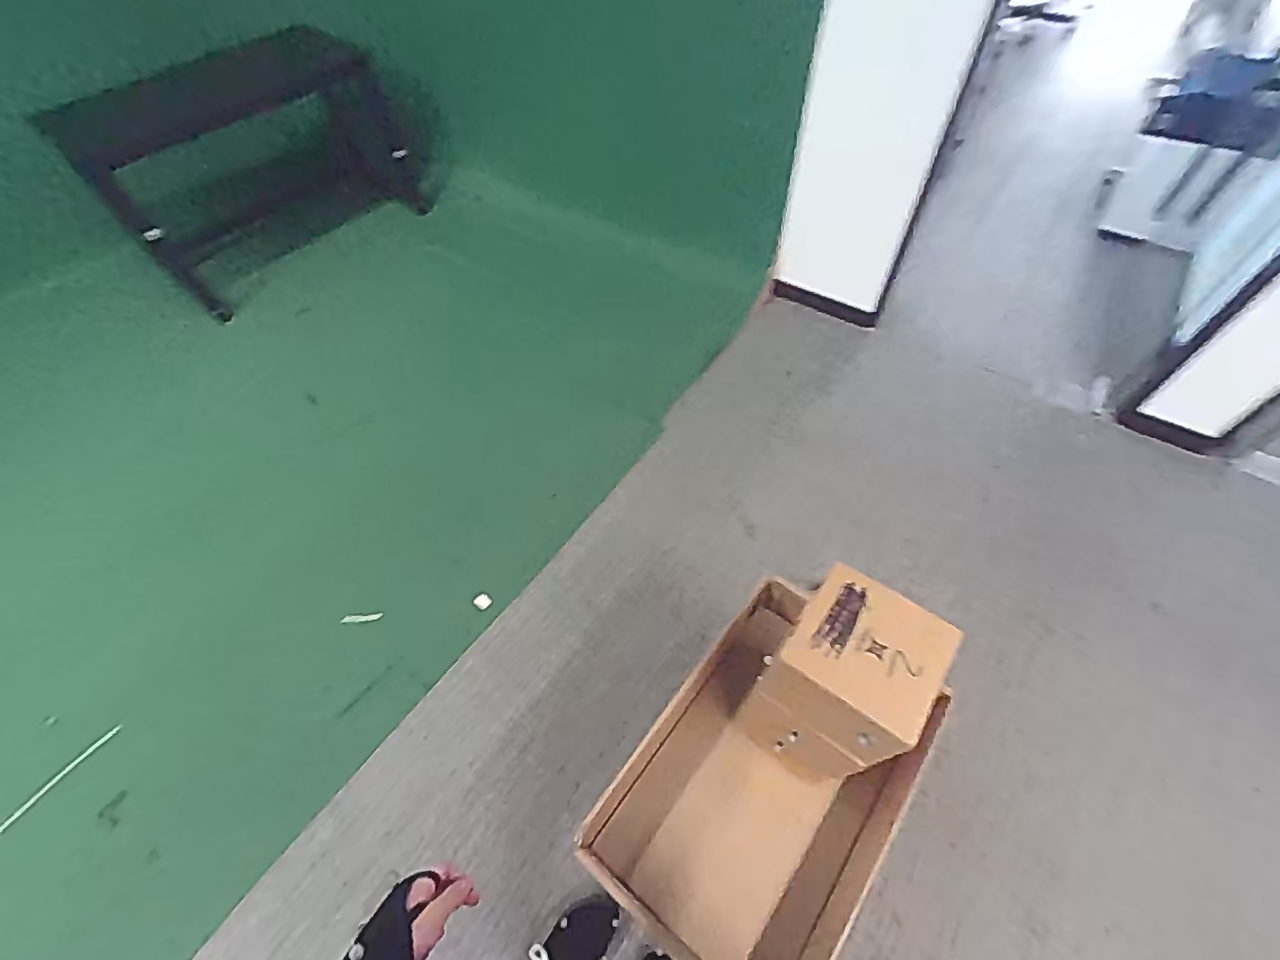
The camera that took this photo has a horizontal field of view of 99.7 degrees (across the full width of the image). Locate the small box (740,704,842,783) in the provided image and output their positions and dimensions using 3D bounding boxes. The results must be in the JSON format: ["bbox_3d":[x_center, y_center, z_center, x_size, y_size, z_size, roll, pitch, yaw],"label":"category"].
[{"bbox_3d":[0.308,0.437,1.008,0.179,0.176,0.168,33,63,22],"label":"small box"}]

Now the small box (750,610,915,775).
[{"bbox_3d":[0.298,0.347,0.871,0.179,0.176,0.168,31,63,22],"label":"small box"}]
